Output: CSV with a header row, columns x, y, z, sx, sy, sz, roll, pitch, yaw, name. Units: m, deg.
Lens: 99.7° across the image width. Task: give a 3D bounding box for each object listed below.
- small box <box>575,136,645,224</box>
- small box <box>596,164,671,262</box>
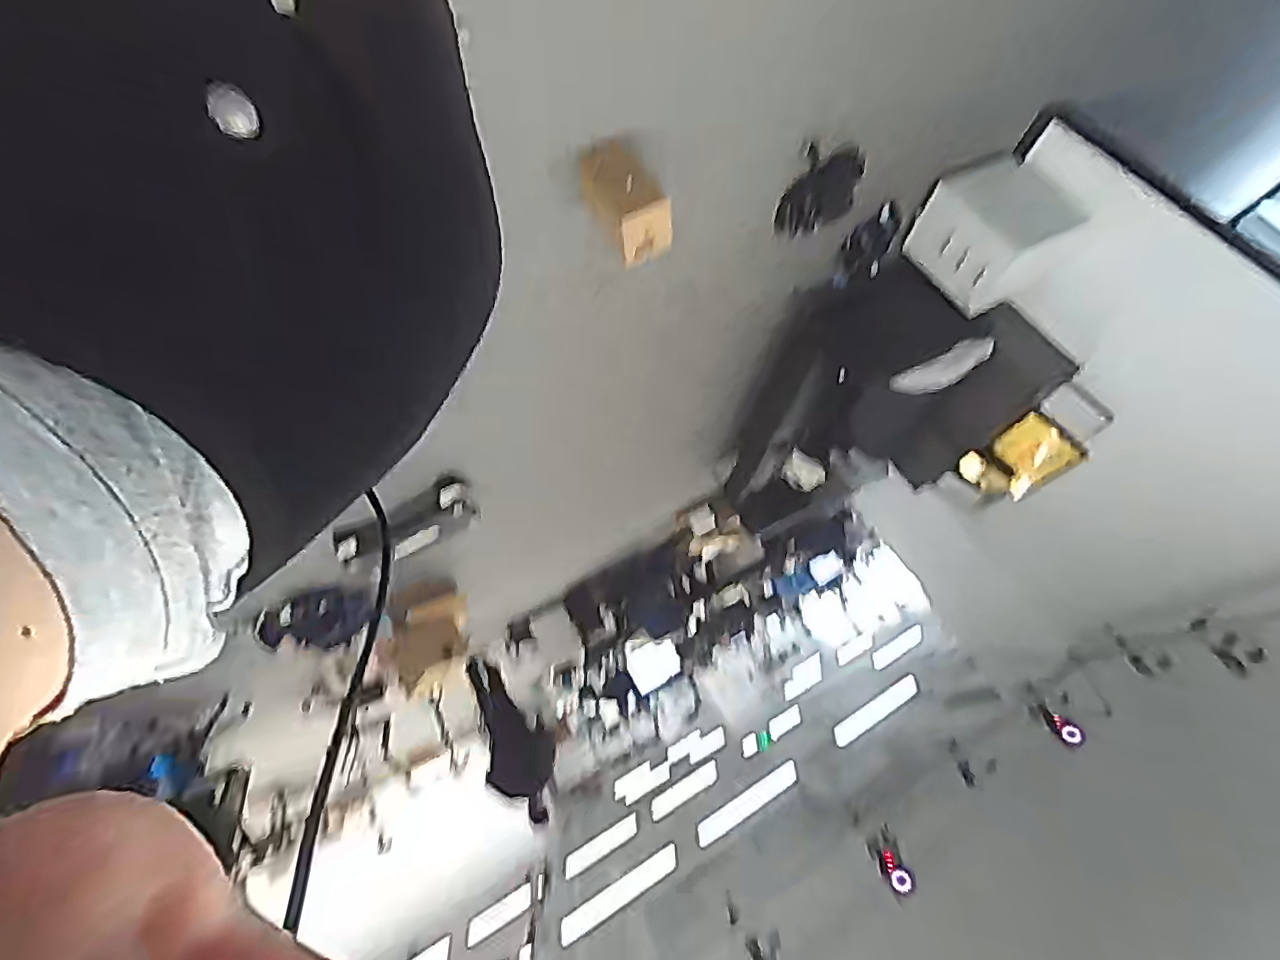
x,y,z,sx,sy,sz,roll,pitch,yaw,name
-0.091,-0.948,1.709,0.168,0.176,0.179,-28,161,-5,small box
-0.017,-0.814,1.648,0.168,0.176,0.179,-28,158,-6,small box
